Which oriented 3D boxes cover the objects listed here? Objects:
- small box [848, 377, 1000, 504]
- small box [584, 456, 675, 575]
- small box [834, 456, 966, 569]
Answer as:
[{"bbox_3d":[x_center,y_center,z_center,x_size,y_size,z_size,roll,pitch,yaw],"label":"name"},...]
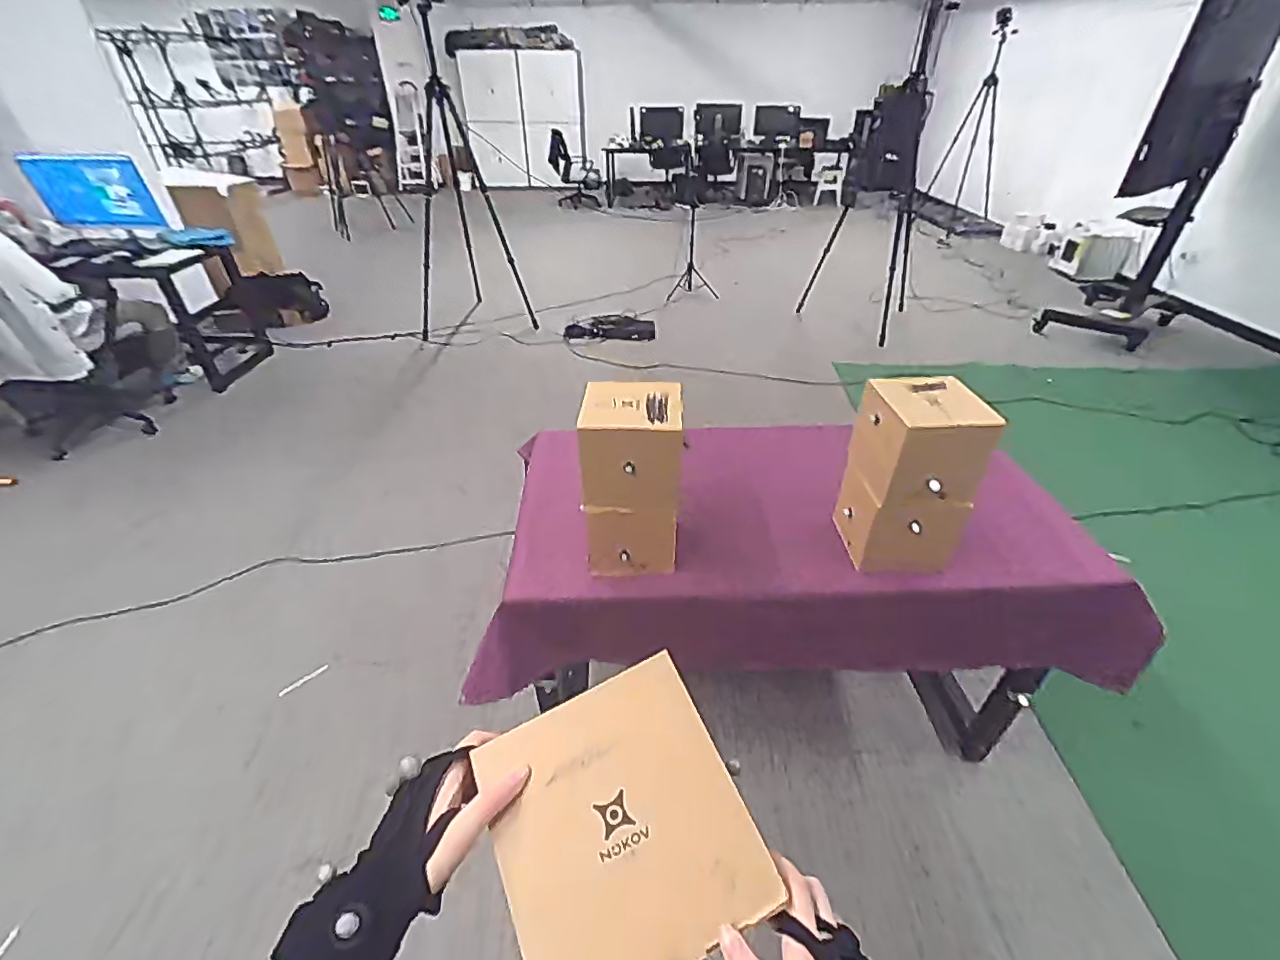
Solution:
[{"bbox_3d":[0.499,-0.074,0.985,0.168,0.176,0.179,-2,37,-2],"label":"small box"},{"bbox_3d":[-0.021,0.069,1.076,0.168,0.176,0.179,0,37,-1],"label":"small box"},{"bbox_3d":[0.501,0.063,1.077,0.179,0.176,0.168,0,37,0],"label":"small box"}]
